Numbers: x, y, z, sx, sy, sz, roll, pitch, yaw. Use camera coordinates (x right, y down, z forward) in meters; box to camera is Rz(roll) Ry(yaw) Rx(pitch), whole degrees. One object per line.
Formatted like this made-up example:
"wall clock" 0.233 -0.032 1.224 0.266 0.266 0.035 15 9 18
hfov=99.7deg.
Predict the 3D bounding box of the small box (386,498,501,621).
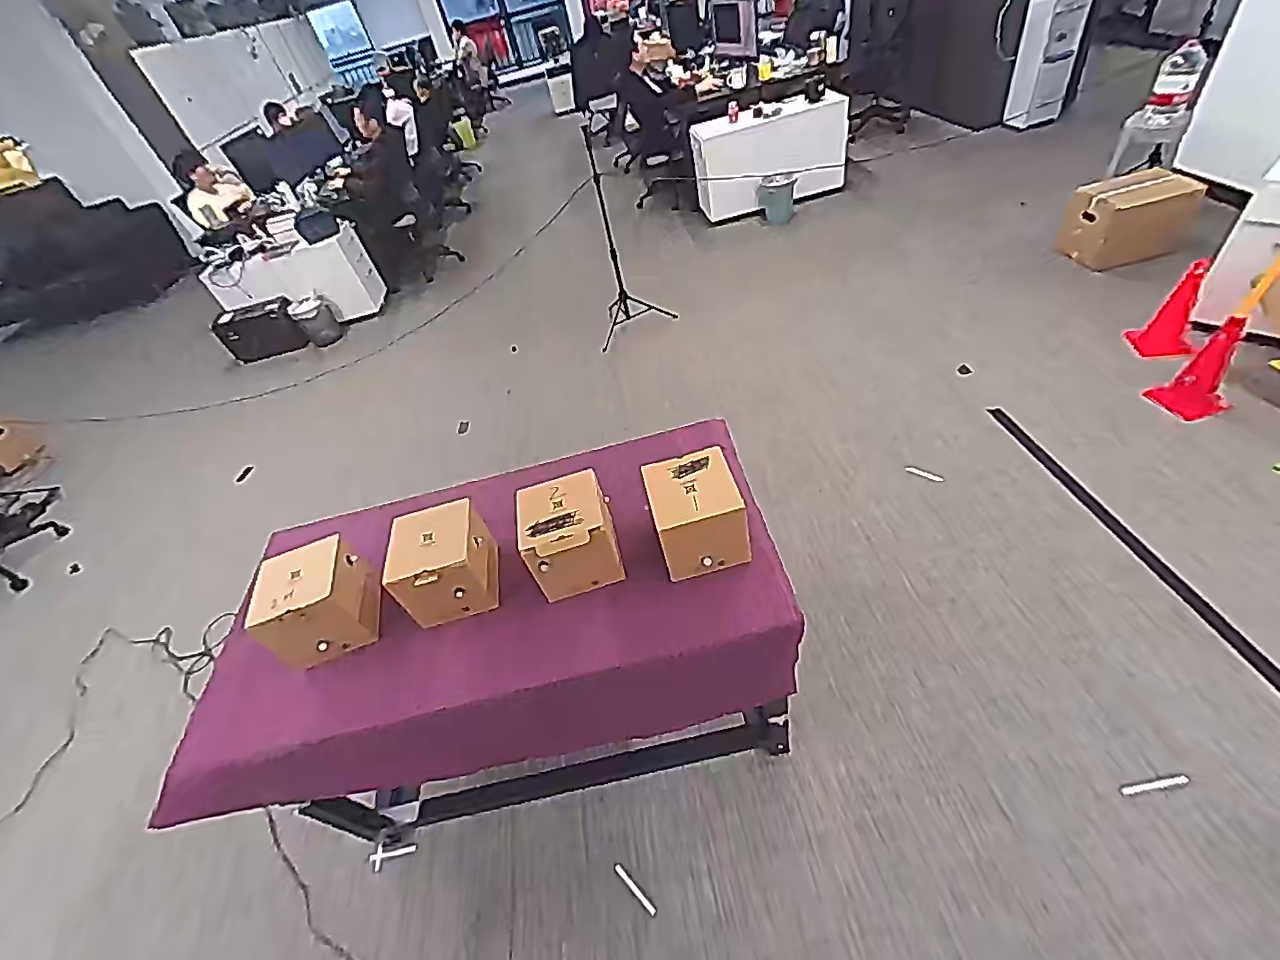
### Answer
"small box" -0.395 0.171 1.120 0.168 0.176 0.179 -15 44 0

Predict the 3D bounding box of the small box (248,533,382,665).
"small box" -0.655 0.247 1.117 0.168 0.176 0.179 -21 44 -4

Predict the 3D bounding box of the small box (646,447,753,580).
"small box" 0.117 0.067 1.069 0.168 0.176 0.179 -16 44 2
